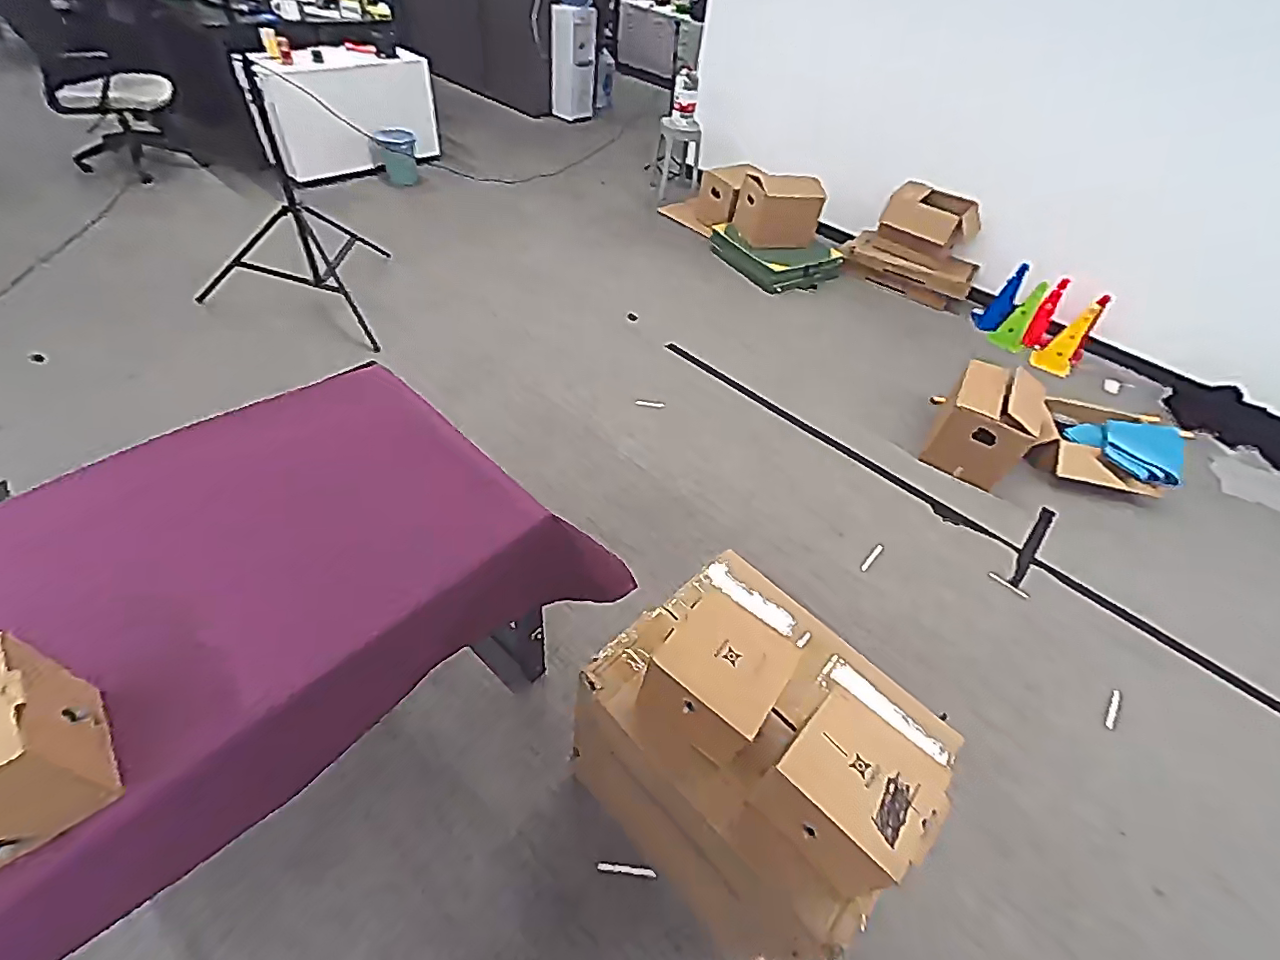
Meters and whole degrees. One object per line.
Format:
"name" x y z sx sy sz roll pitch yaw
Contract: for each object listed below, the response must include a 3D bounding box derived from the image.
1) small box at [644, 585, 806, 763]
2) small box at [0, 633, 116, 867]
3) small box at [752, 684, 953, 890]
"small box" 0.123 0.308 0.849 0.179 0.176 0.168 35 54 20
"small box" -0.713 0.306 0.577 0.179 0.176 0.168 -29 57 -31
"small box" 0.286 0.431 0.757 0.179 0.176 0.168 37 53 26
